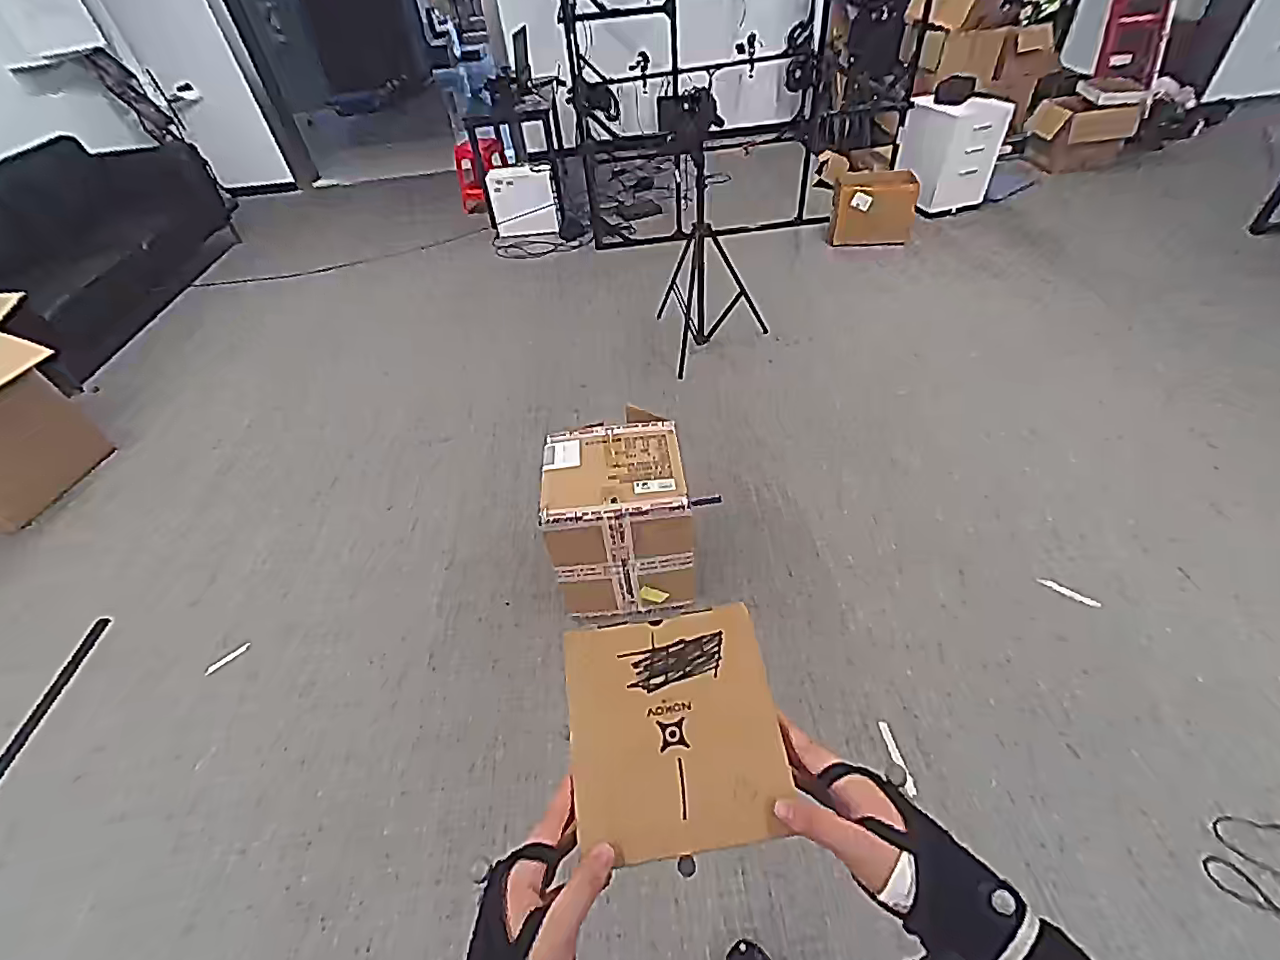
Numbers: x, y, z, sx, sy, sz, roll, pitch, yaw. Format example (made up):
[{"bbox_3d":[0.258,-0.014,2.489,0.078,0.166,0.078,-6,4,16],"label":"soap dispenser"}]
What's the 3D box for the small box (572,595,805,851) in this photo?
[{"bbox_3d":[0.033,0.230,0.503,0.168,0.176,0.179,-9,57,-2],"label":"small box"}]
